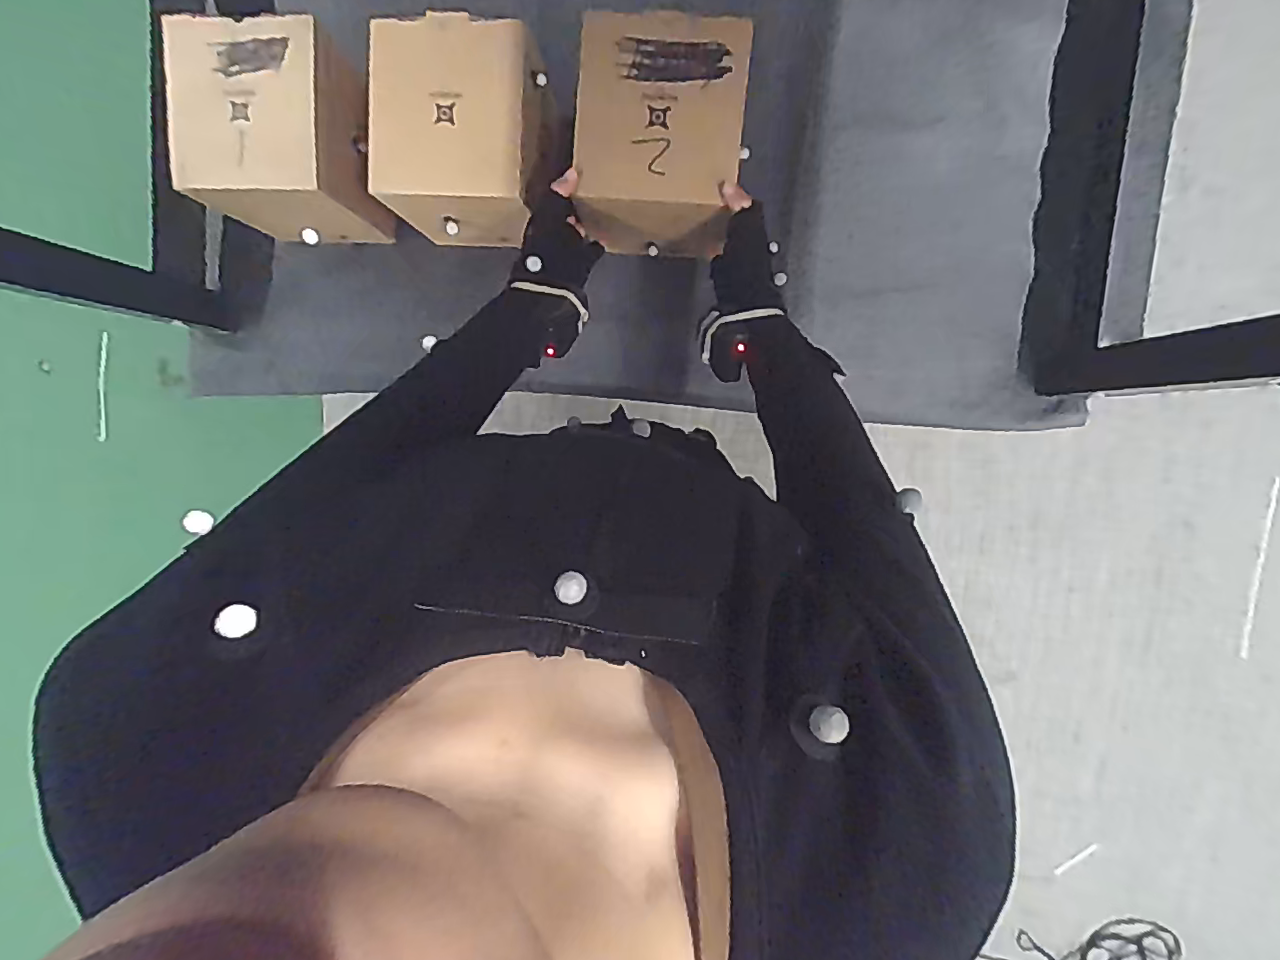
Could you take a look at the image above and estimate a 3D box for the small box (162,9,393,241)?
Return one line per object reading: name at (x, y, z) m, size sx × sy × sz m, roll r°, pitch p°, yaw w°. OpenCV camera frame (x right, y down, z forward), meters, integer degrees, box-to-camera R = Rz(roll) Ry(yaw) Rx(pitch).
small box at (-0.416, -0.407, 0.645) m, size 0.168 × 0.176 × 0.179 m, roll 3°, pitch 96°, yaw 4°
